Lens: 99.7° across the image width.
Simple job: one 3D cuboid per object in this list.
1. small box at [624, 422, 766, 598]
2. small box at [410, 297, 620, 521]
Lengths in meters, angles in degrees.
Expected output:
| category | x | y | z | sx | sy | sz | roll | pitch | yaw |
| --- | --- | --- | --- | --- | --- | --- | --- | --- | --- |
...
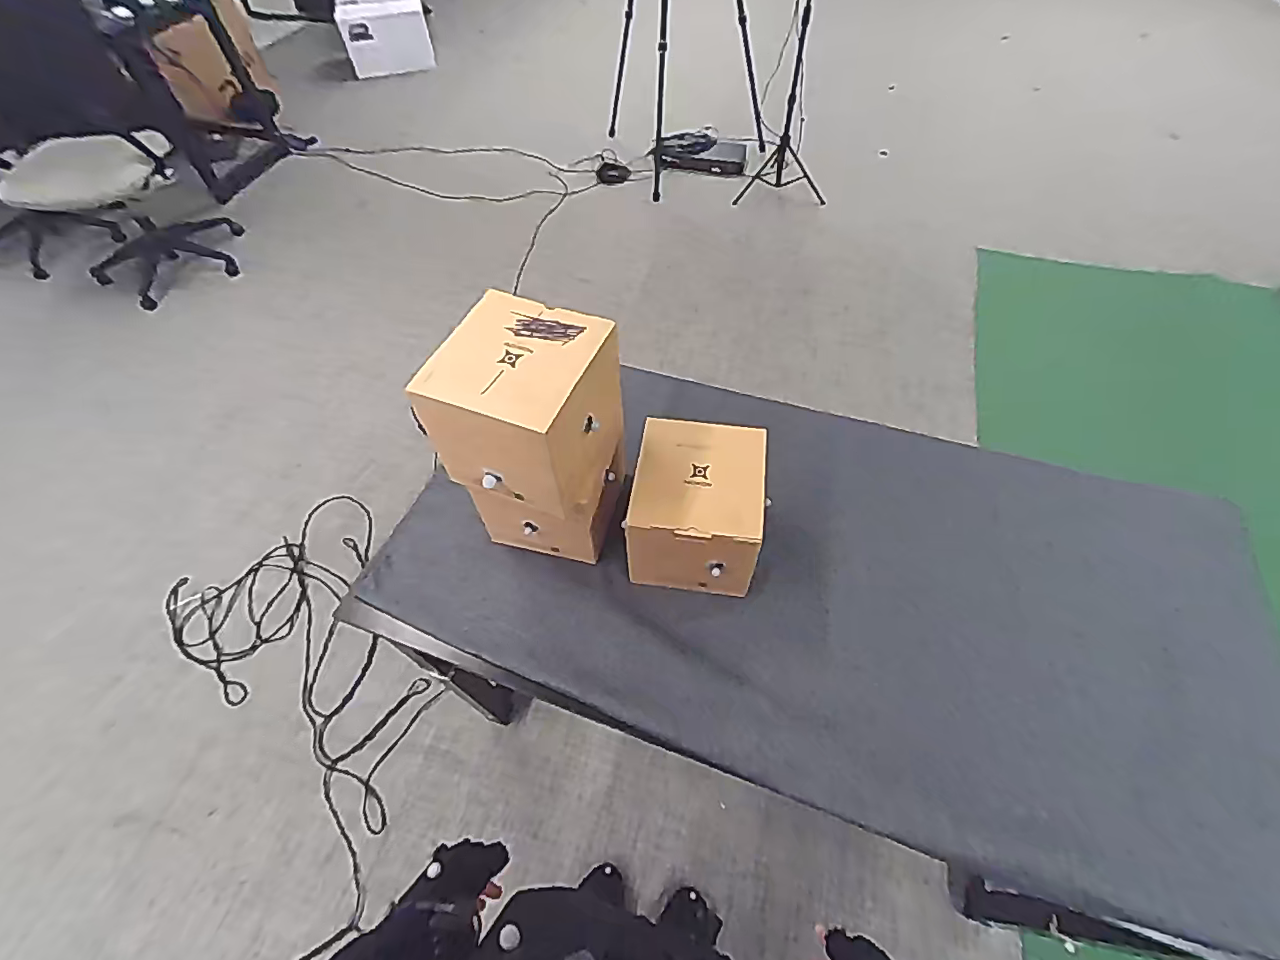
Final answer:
| category | x | y | z | sx | sy | sz | roll | pitch | yaw |
| --- | --- | --- | --- | --- | --- | --- | --- | --- | --- |
| small box | 0.077 | 0.046 | 0.751 | 0.168 | 0.176 | 0.179 | 7 | 55 | 5 |
| small box | -0.131 | -0.082 | 0.645 | 0.168 | 0.176 | 0.179 | 18 | 58 | 13 |
